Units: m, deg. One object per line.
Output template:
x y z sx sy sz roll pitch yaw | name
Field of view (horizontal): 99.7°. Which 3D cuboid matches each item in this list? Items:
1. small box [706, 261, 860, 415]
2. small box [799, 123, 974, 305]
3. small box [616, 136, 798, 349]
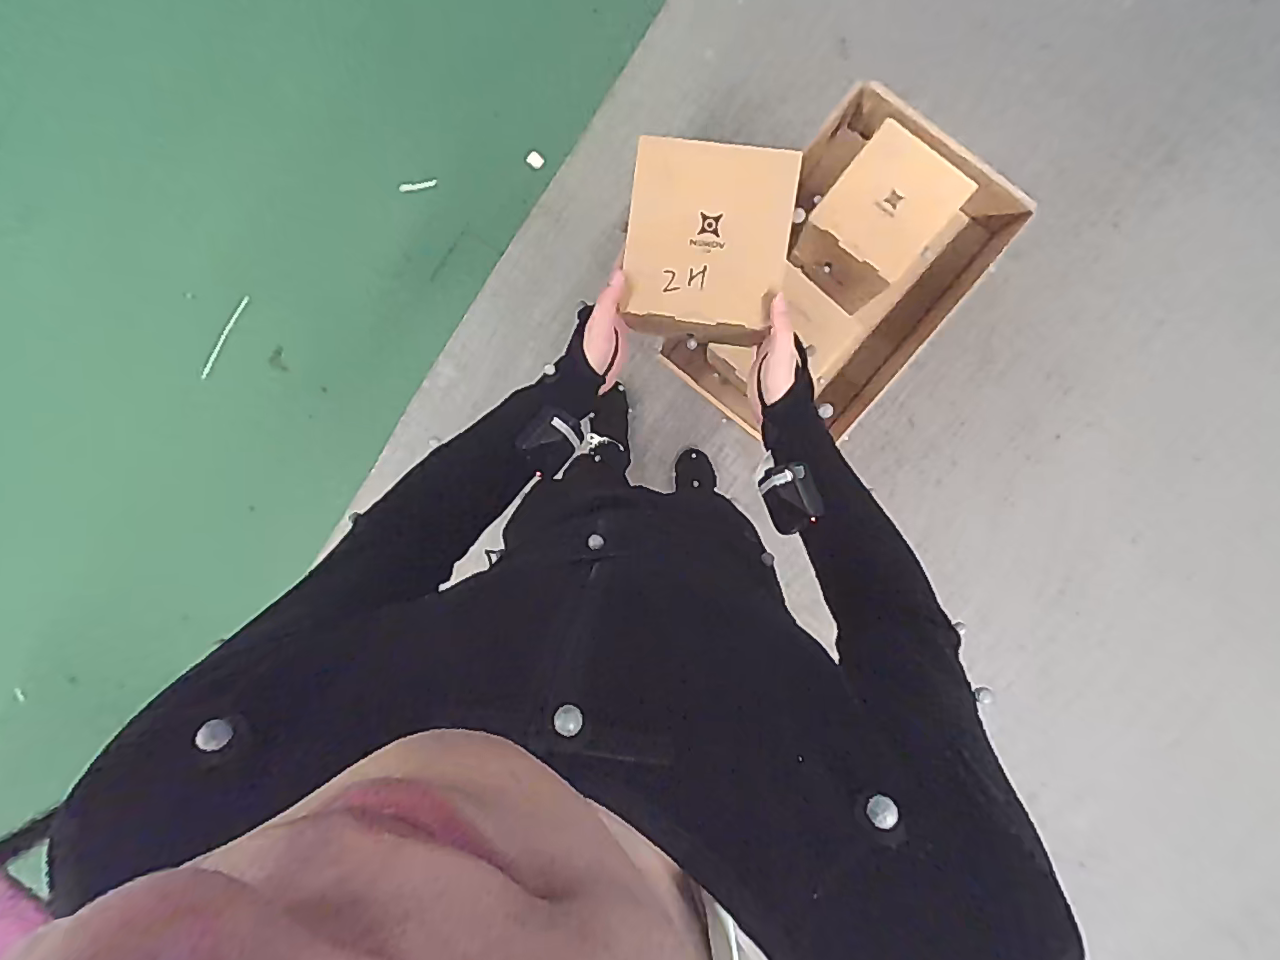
0.230 -0.225 0.912 0.168 0.176 0.179 43 98 1 | small box
0.381 -0.415 0.878 0.168 0.176 0.179 40 101 2 | small box
0.071 -0.260 0.629 0.168 0.176 0.179 8 98 3 | small box
